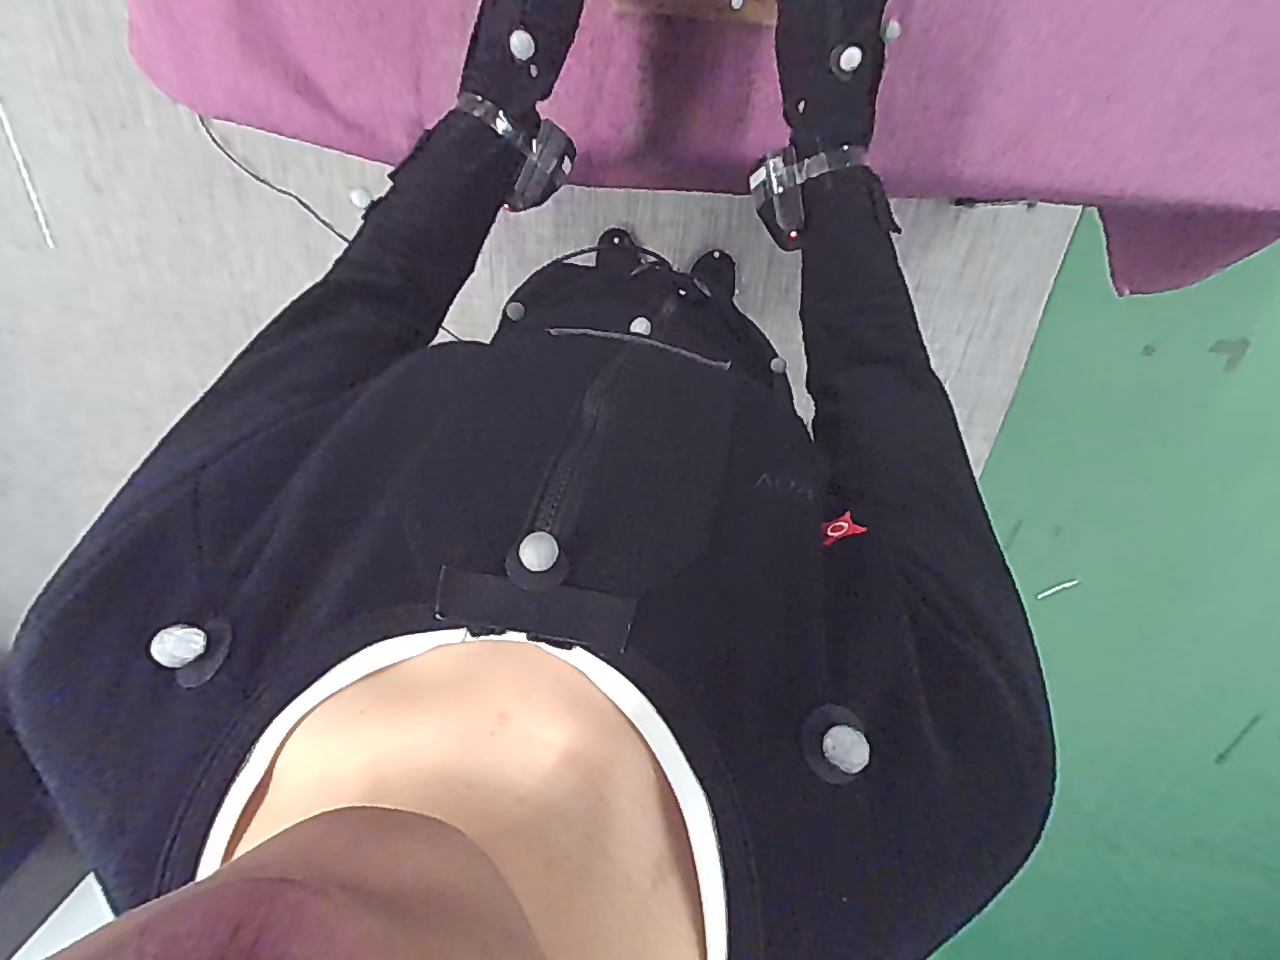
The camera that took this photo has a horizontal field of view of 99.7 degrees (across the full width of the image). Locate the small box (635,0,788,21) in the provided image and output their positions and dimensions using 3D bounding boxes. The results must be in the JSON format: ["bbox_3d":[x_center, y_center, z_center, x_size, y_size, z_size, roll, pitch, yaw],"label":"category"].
[{"bbox_3d":[0.060,-0.495,0.420,0.168,0.176,0.179,7,115,2],"label":"small box"}]
